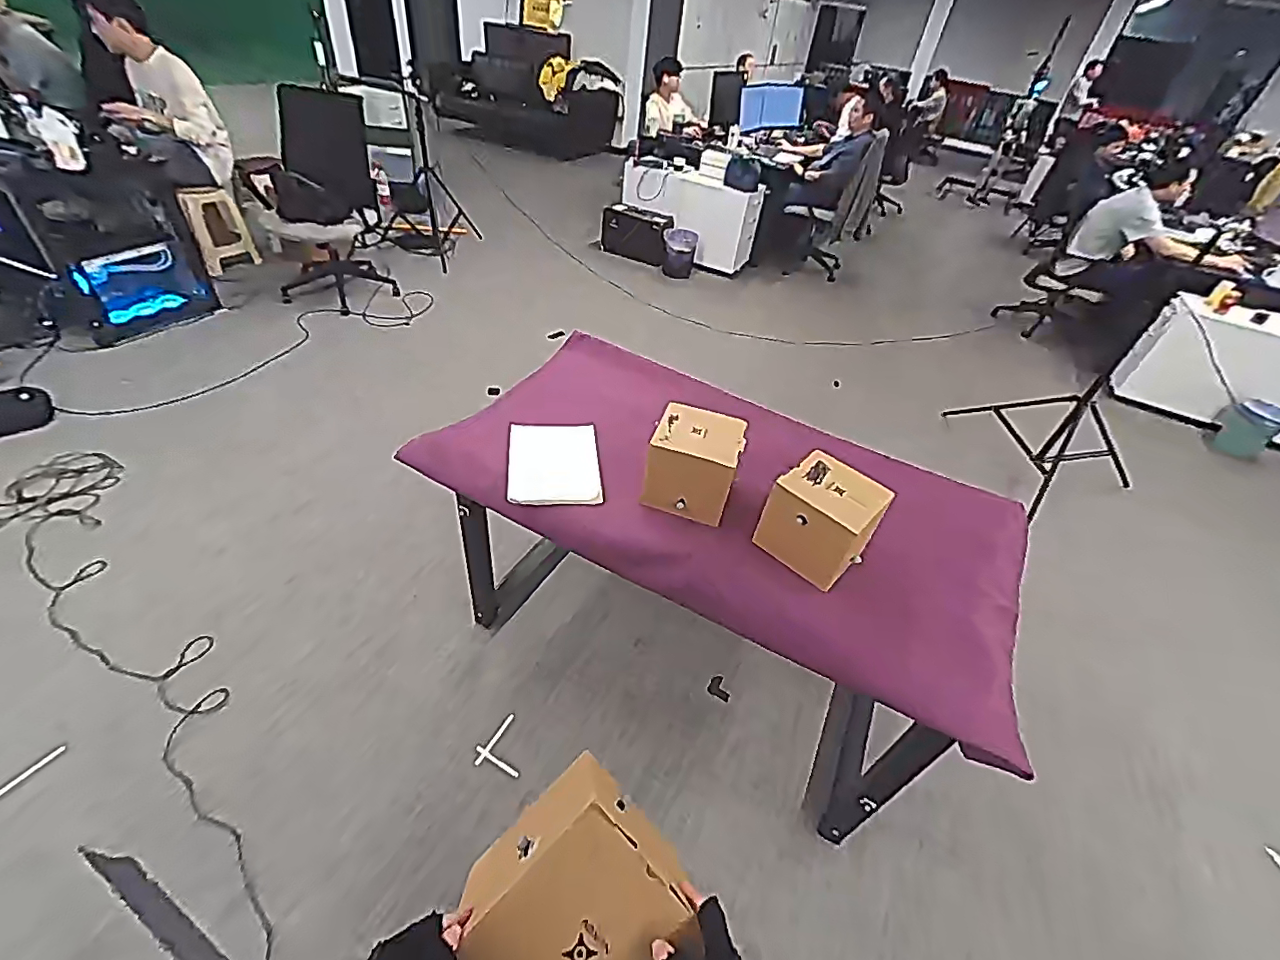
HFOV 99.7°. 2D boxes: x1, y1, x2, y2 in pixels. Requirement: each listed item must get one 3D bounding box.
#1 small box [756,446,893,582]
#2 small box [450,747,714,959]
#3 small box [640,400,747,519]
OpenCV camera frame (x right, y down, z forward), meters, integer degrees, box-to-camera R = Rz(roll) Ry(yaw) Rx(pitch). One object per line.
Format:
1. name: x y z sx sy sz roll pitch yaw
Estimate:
1. small box: 0.355 0.066 1.070 0.179 0.176 0.168 36 47 28
2. small box: -0.059 0.408 0.548 0.179 0.176 0.168 -42 85 -14
3. small box: 0.112 -0.041 1.155 0.179 0.176 0.168 16 41 8
